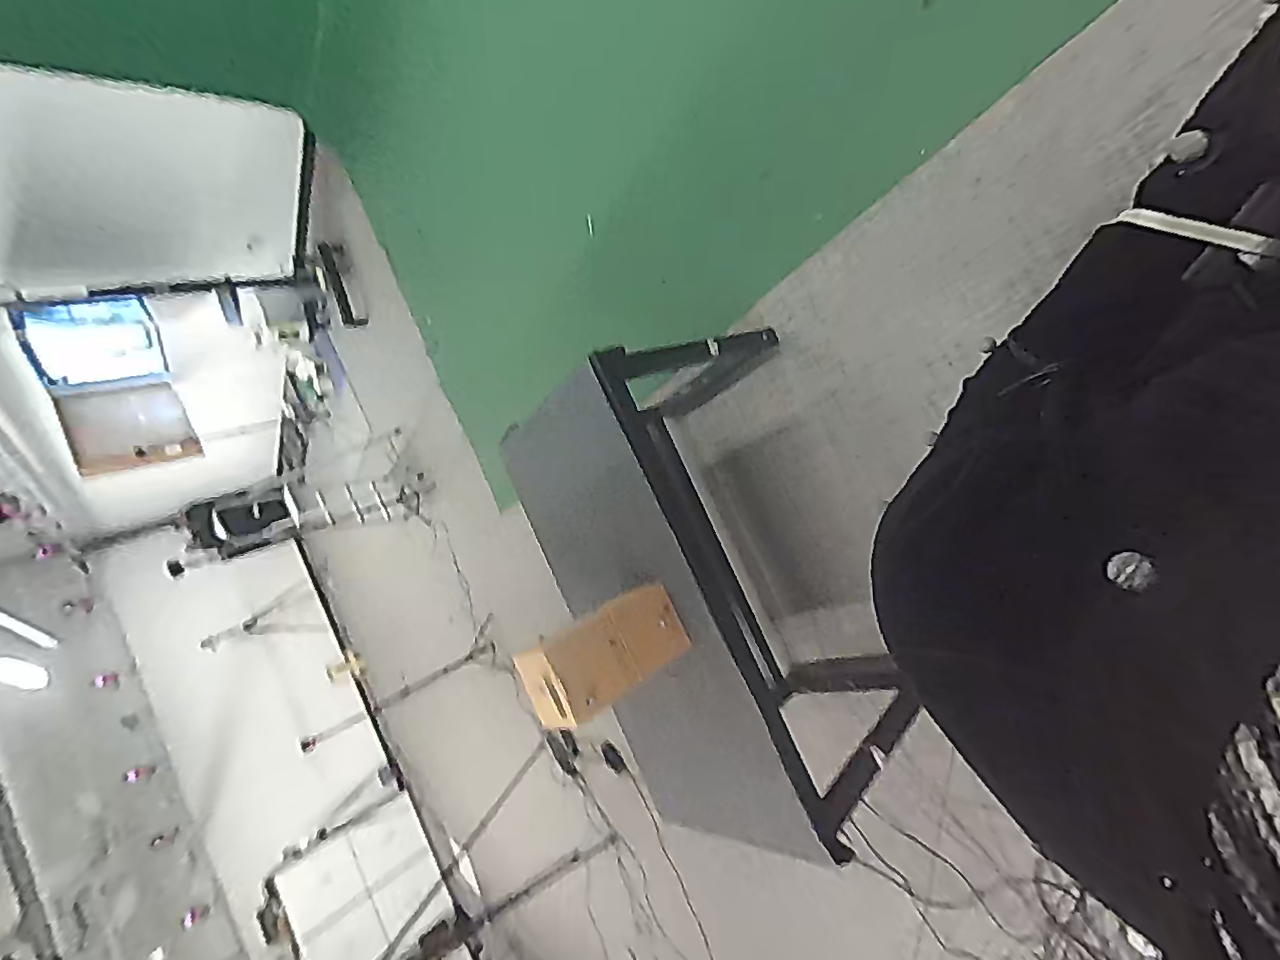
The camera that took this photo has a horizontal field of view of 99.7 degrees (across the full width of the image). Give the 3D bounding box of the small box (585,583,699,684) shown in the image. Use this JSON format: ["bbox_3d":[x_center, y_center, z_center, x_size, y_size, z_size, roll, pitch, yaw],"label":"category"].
[{"bbox_3d":[0.006,0.361,1.273,0.179,0.176,0.168,-33,81,51],"label":"small box"}]
